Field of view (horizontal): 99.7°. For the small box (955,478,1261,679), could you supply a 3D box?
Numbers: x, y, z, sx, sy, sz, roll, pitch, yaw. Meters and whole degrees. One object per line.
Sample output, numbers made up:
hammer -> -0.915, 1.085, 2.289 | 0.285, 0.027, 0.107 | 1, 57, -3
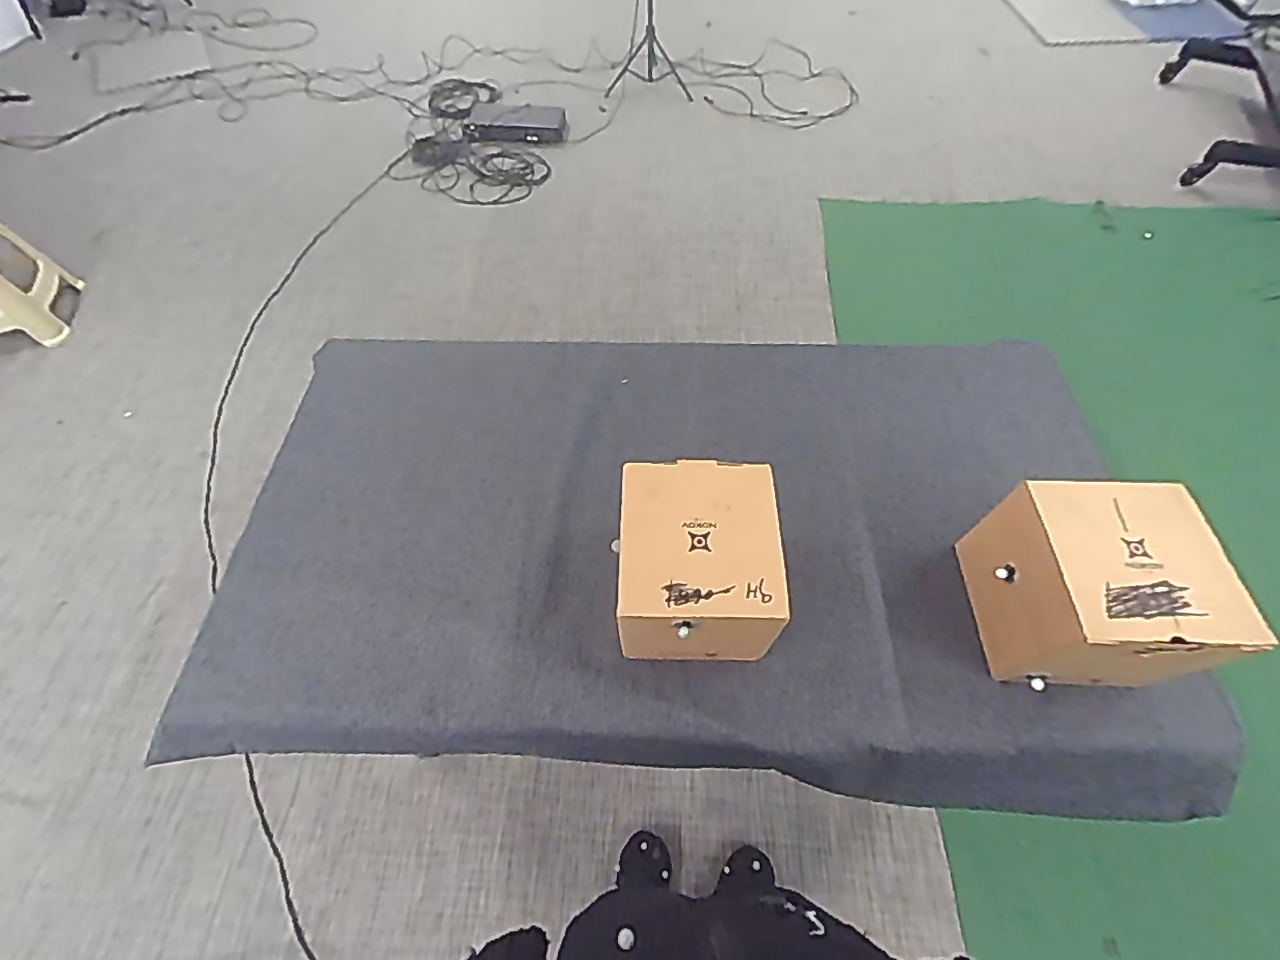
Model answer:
small box -> 0.489, 0.116, 0.605 | 0.168, 0.176, 0.179 | 2, 57, 3

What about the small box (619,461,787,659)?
small box -> 0.063, 0.096, 0.629 | 0.168, 0.176, 0.179 | 1, 58, 2
